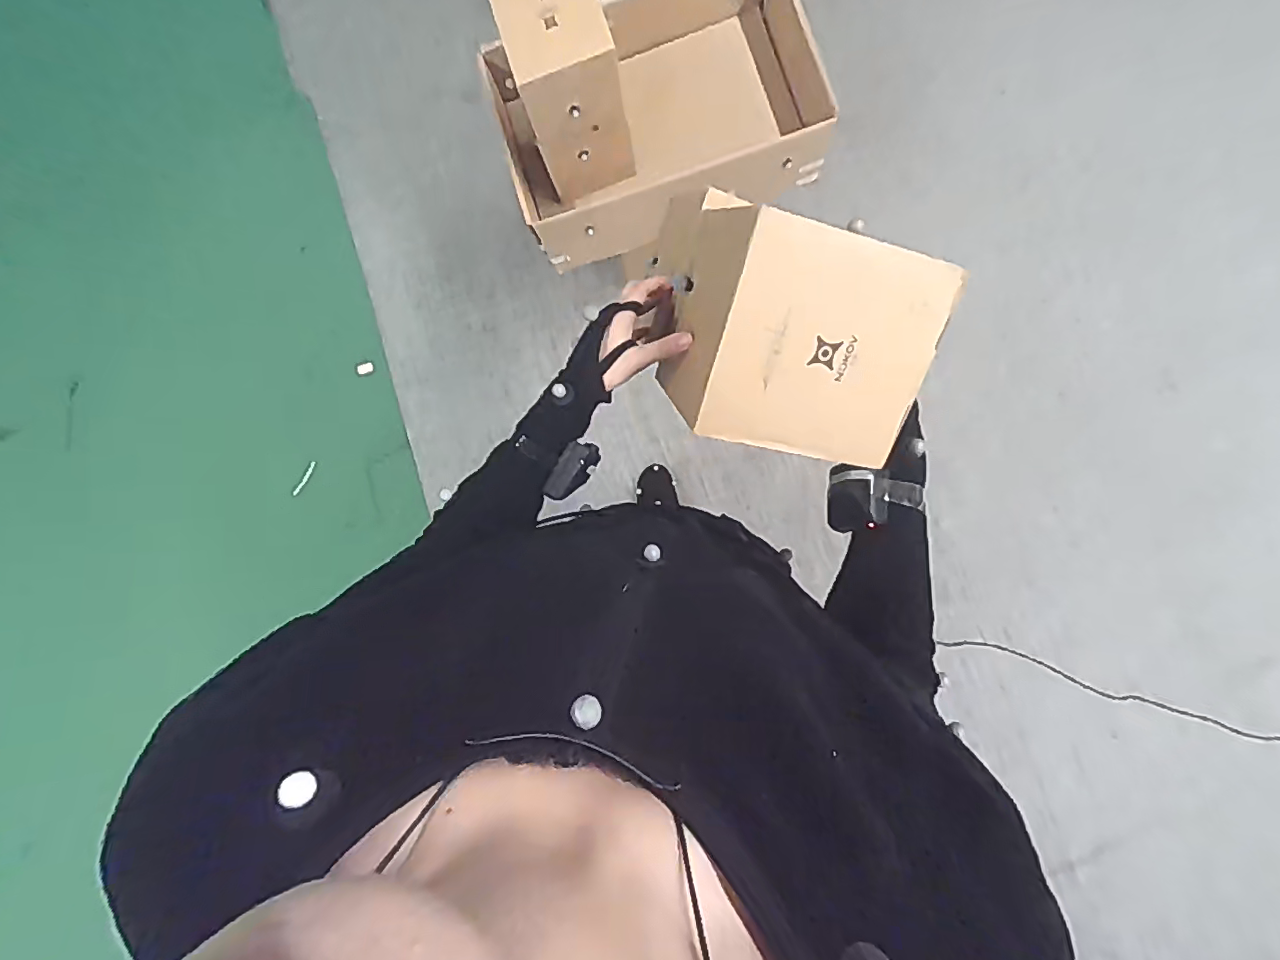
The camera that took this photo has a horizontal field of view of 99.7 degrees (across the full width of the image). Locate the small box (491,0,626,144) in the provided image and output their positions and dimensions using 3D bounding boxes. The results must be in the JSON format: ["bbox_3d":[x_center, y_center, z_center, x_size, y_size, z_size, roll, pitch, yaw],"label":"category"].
[{"bbox_3d":[-0.129,-0.710,0.915,0.168,0.176,0.179,-17,85,4],"label":"small box"}]

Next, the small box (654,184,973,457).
[{"bbox_3d":[0.125,-0.138,0.466,0.179,0.176,0.168,10,113,-13],"label":"small box"}]
